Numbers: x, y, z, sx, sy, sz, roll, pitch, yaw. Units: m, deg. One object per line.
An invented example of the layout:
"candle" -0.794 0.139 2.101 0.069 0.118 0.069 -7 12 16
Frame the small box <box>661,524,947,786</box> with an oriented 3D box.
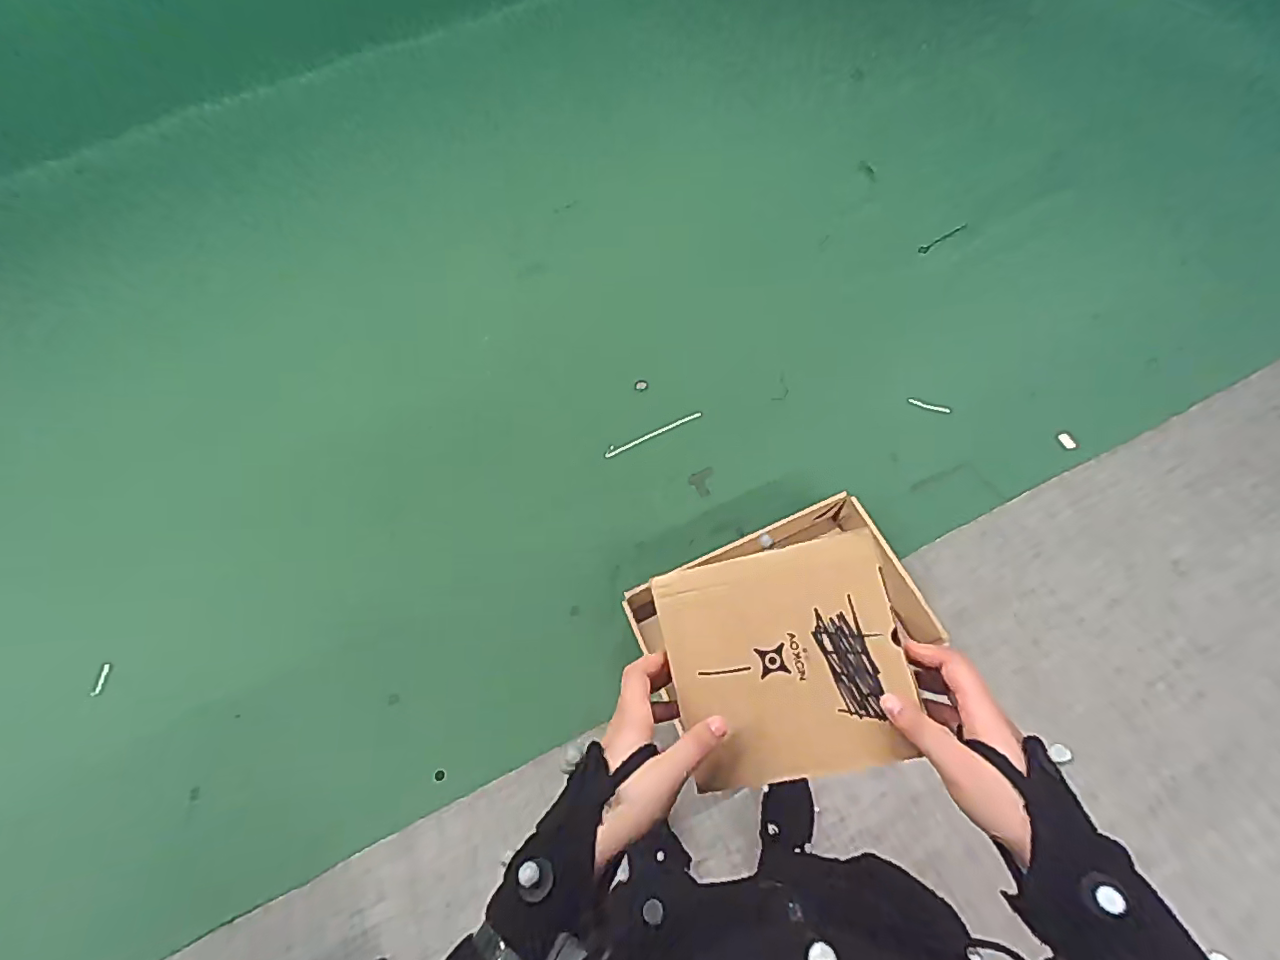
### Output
"small box" 0.128 0.139 0.476 0.179 0.176 0.168 -14 79 8
